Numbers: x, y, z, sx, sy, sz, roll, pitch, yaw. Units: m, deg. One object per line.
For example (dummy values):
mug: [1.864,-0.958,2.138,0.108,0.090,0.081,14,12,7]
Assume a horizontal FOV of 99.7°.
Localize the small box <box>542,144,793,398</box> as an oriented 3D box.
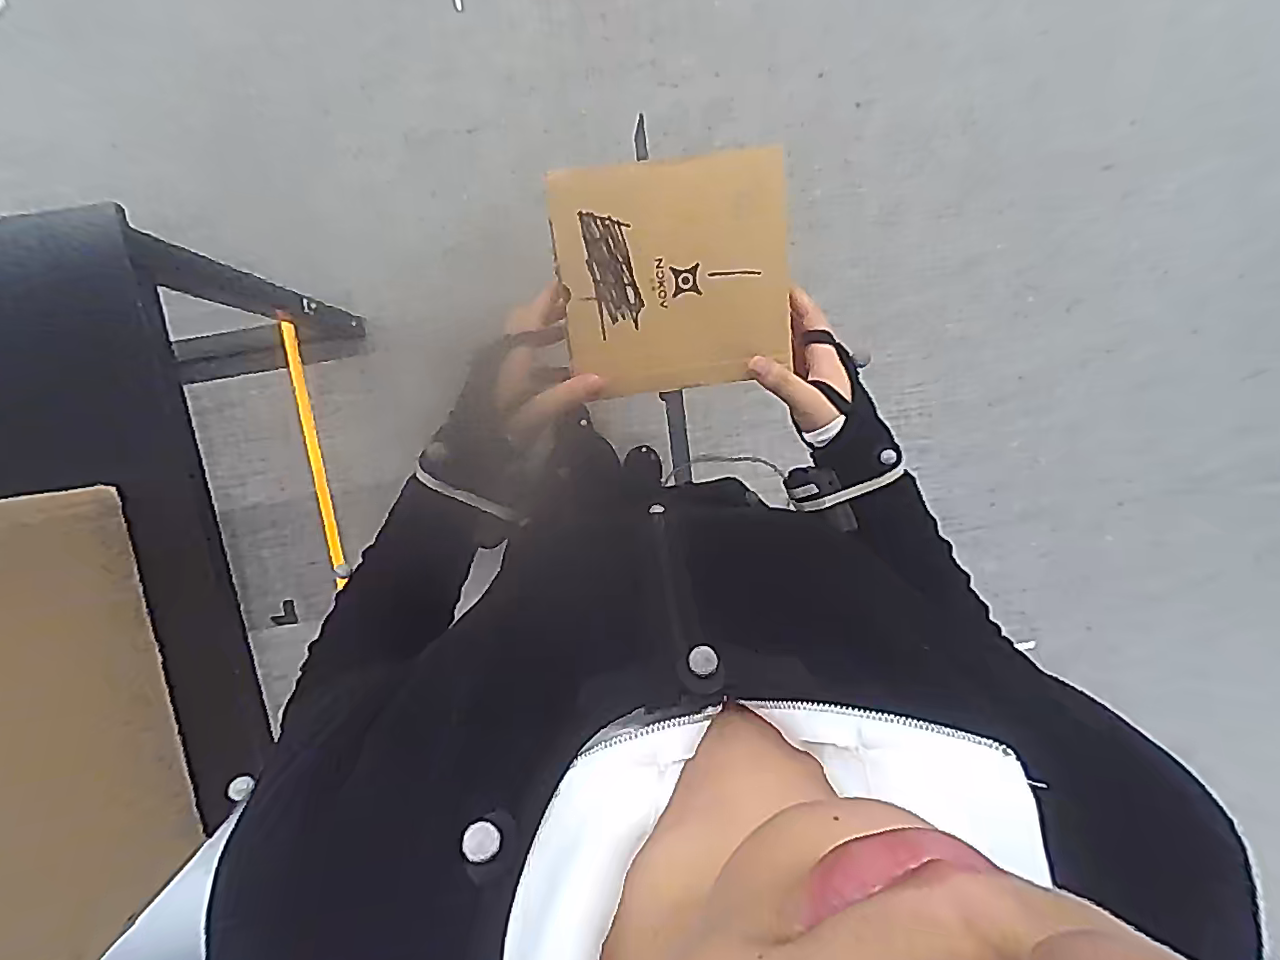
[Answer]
small box: [0.022,-0.172,0.479,0.179,0.176,0.168,-8,107,-1]
